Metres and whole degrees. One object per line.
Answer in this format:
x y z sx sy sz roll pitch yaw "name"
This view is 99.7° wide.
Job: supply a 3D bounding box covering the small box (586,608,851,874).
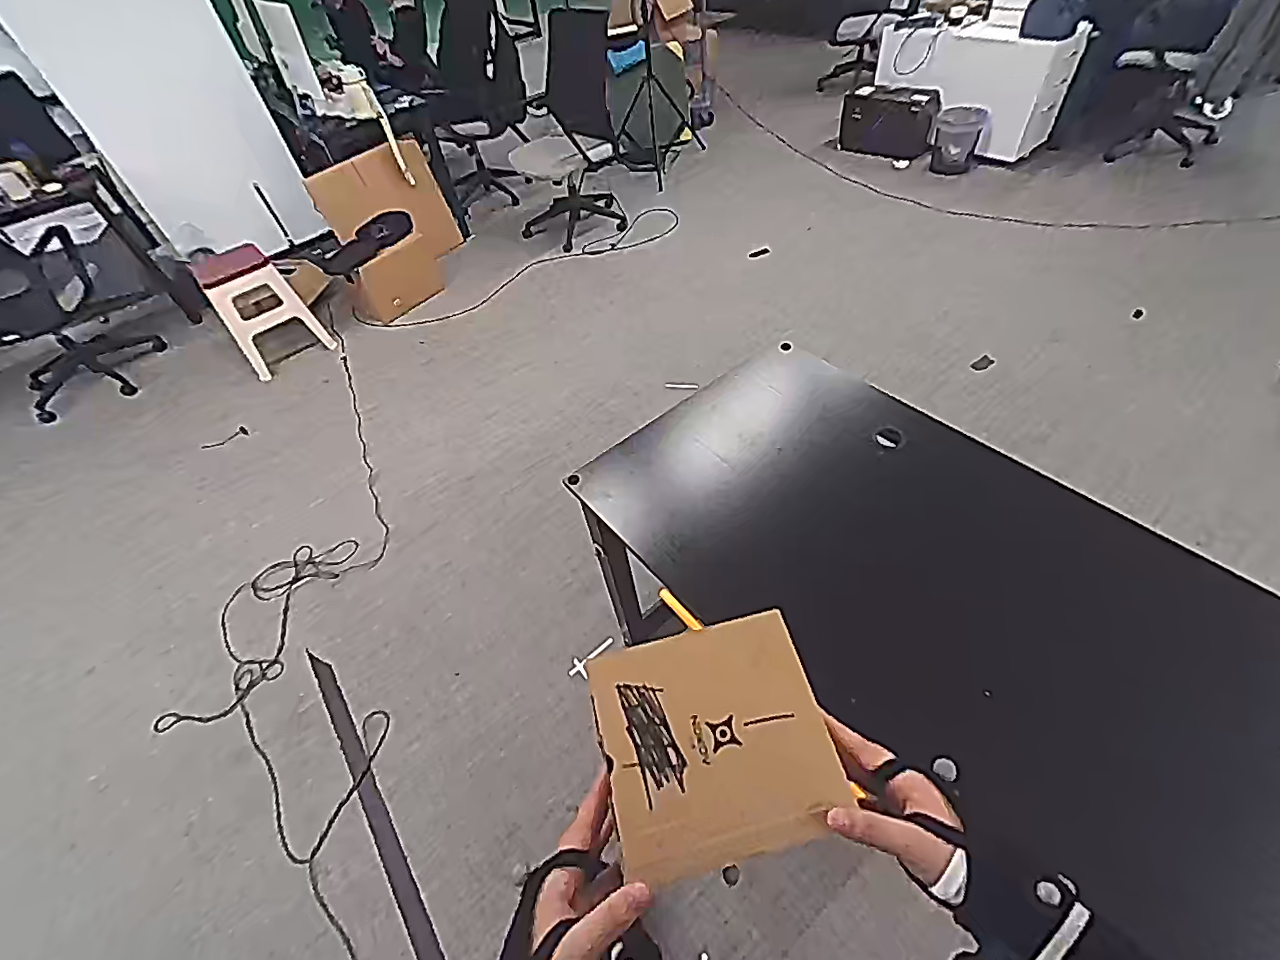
0.060 0.242 0.497 0.179 0.176 0.168 -13 57 -5 "small box"
